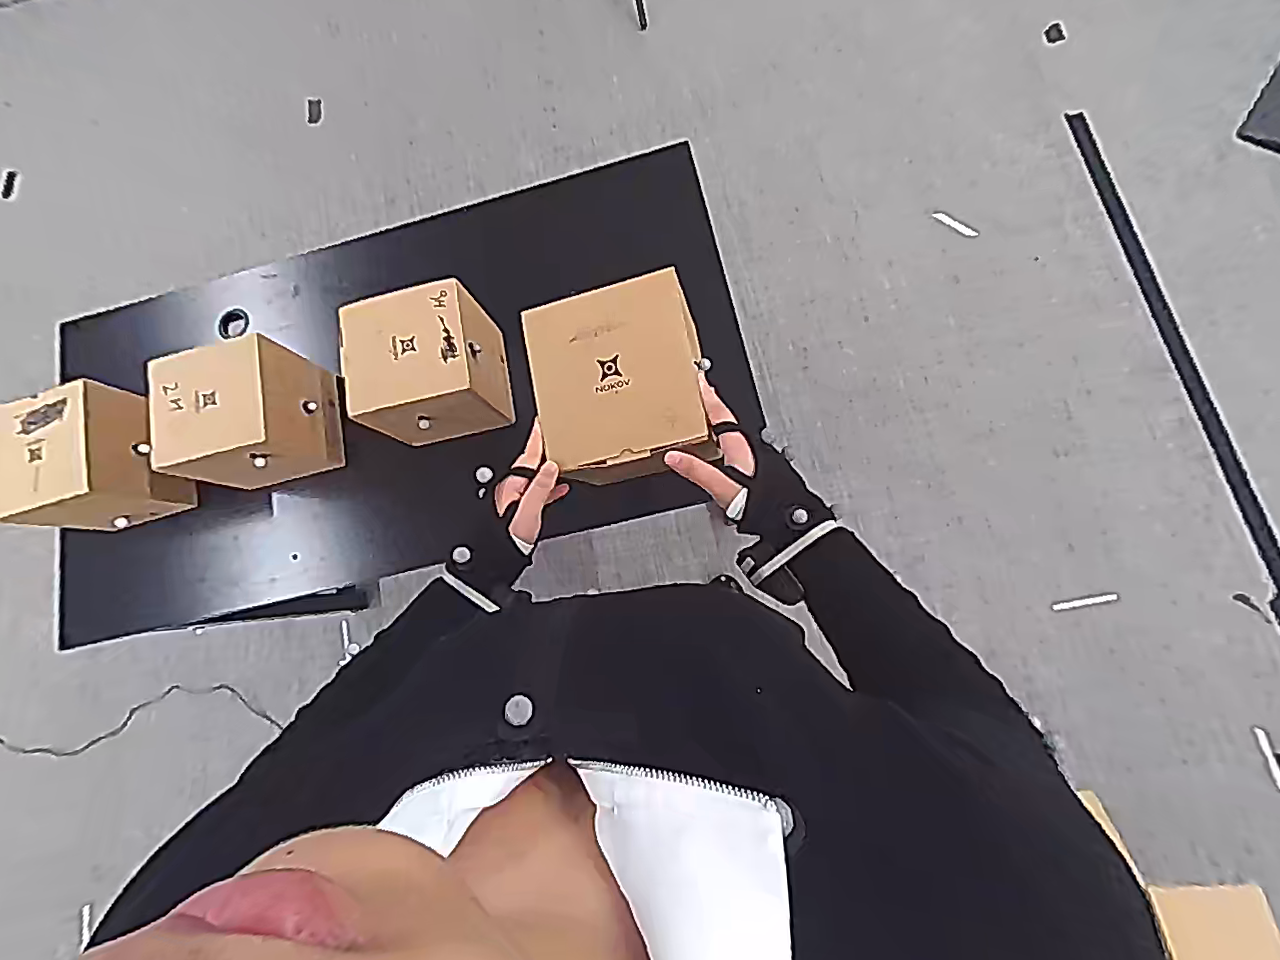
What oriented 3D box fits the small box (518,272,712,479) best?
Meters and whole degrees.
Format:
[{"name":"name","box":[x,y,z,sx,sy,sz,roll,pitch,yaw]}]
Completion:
[{"name":"small box","box":[-0.018,-0.101,0.621,0.168,0.176,0.179,-13,82,11]}]

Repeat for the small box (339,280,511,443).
[{"name":"small box","box":[-0.314,-0.165,0.811,0.179,0.176,0.168,-12,79,6]}]

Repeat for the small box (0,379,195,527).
[{"name":"small box","box":[-0.856,-0.032,0.856,0.168,0.176,0.179,-15,79,4]}]

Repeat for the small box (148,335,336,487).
[{"name":"small box","box":[-0.598,-0.097,0.834,0.179,0.176,0.168,-14,78,4]}]
